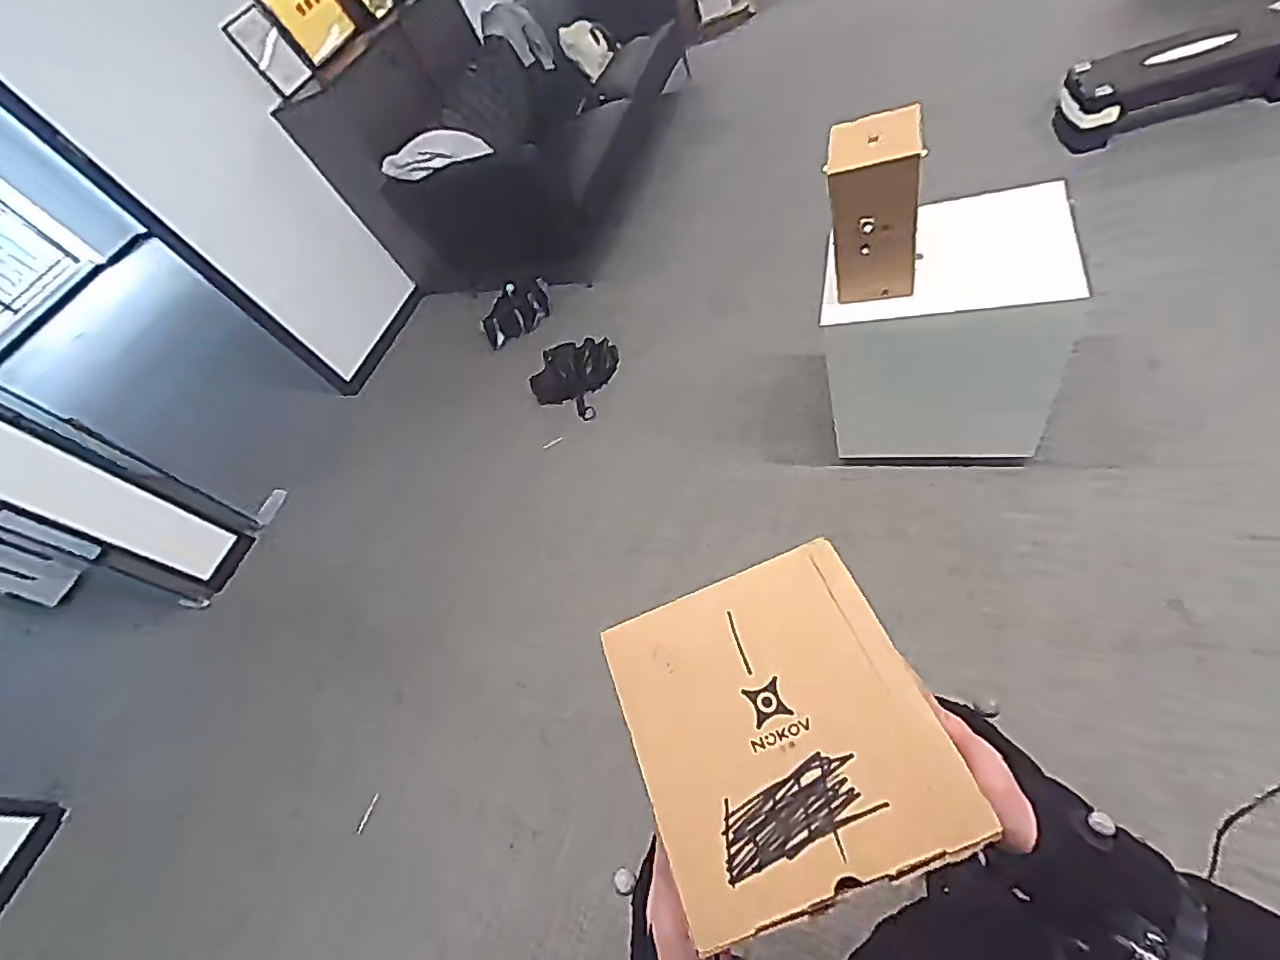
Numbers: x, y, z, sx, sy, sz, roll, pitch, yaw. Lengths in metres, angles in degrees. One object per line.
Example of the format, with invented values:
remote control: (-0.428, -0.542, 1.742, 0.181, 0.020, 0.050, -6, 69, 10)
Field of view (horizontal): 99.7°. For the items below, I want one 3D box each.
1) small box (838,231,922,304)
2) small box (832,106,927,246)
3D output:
small box: (0.548, -0.531, 1.233, 0.168, 0.176, 0.179, 1, 57, 26)
small box: (0.490, -0.613, 1.105, 0.168, 0.176, 0.179, -1, 58, 26)
